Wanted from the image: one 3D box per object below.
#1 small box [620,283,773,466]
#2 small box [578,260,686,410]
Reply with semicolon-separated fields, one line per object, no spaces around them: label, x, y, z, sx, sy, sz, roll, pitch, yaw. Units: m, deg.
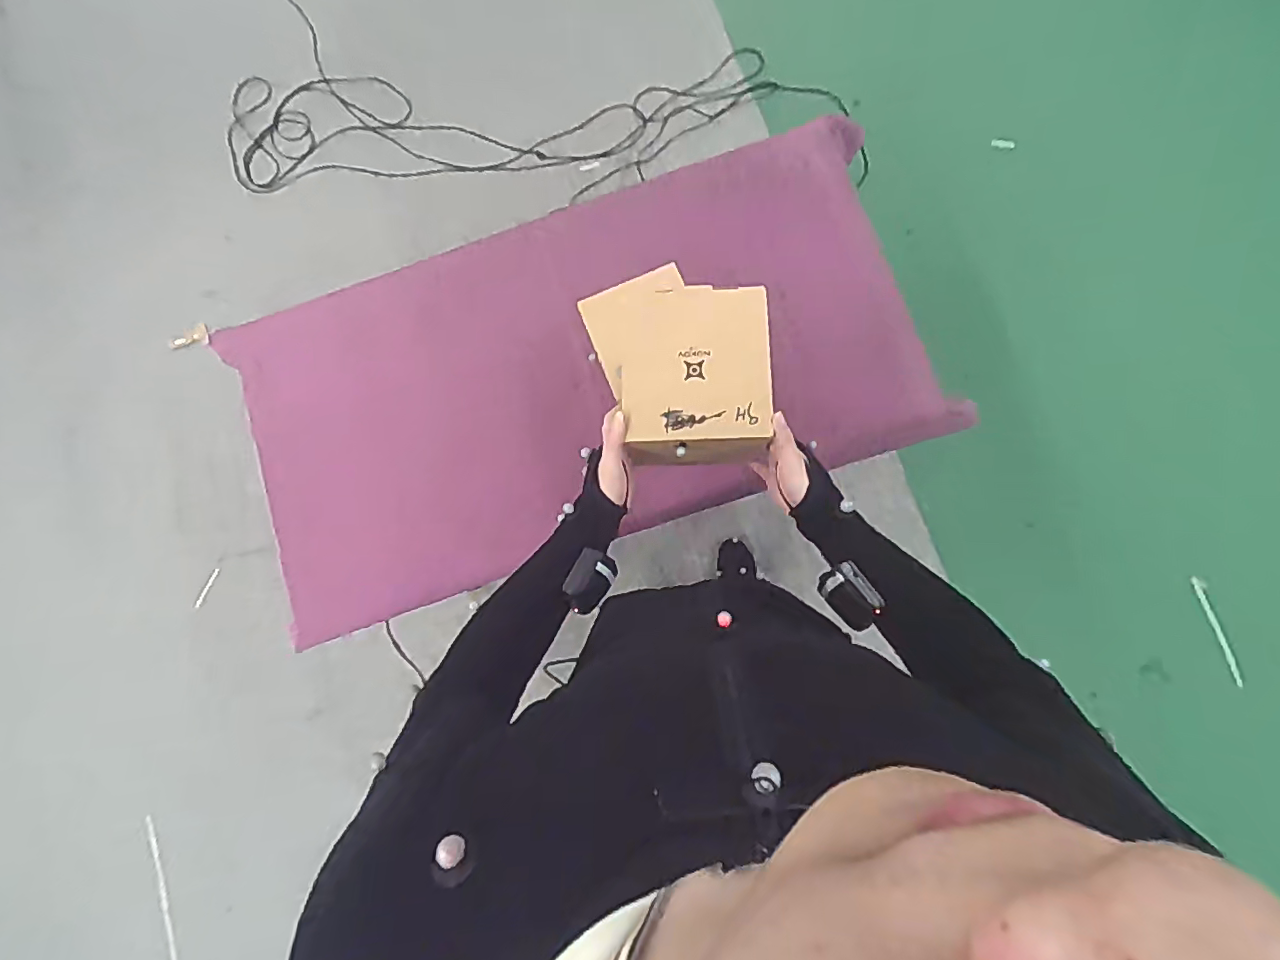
small box;0.064;-0.118;0.663;0.168;0.176;0.179;-1;82;4
small box;0.013;-0.218;0.891;0.168;0.176;0.179;-22;81;1
